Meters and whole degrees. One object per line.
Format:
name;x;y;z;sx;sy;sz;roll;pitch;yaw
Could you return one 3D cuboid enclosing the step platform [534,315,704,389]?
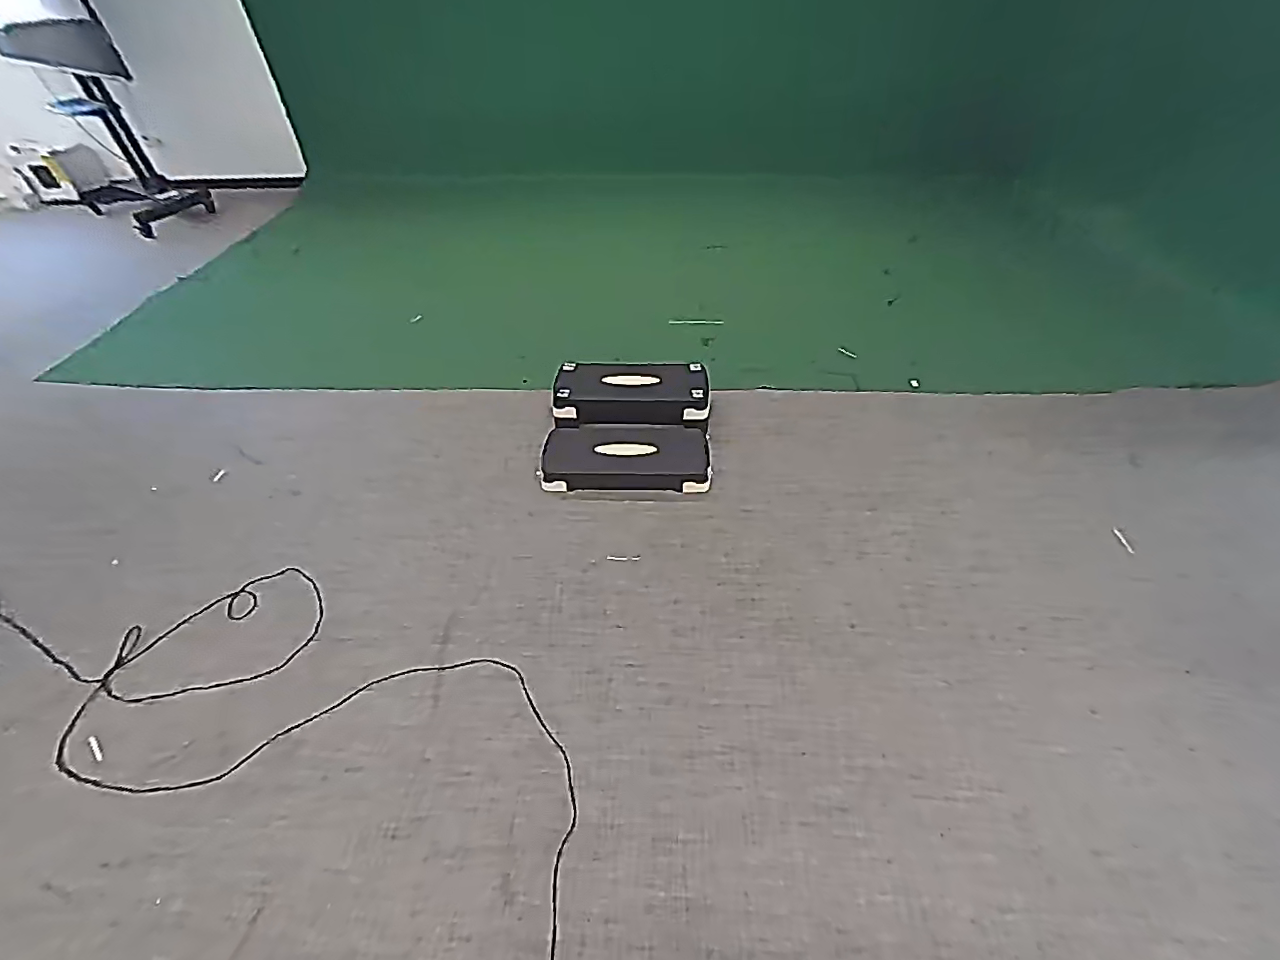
step platform;-0.081;-0.534;2.252;0.684;0.204;0.286;0;45;3
